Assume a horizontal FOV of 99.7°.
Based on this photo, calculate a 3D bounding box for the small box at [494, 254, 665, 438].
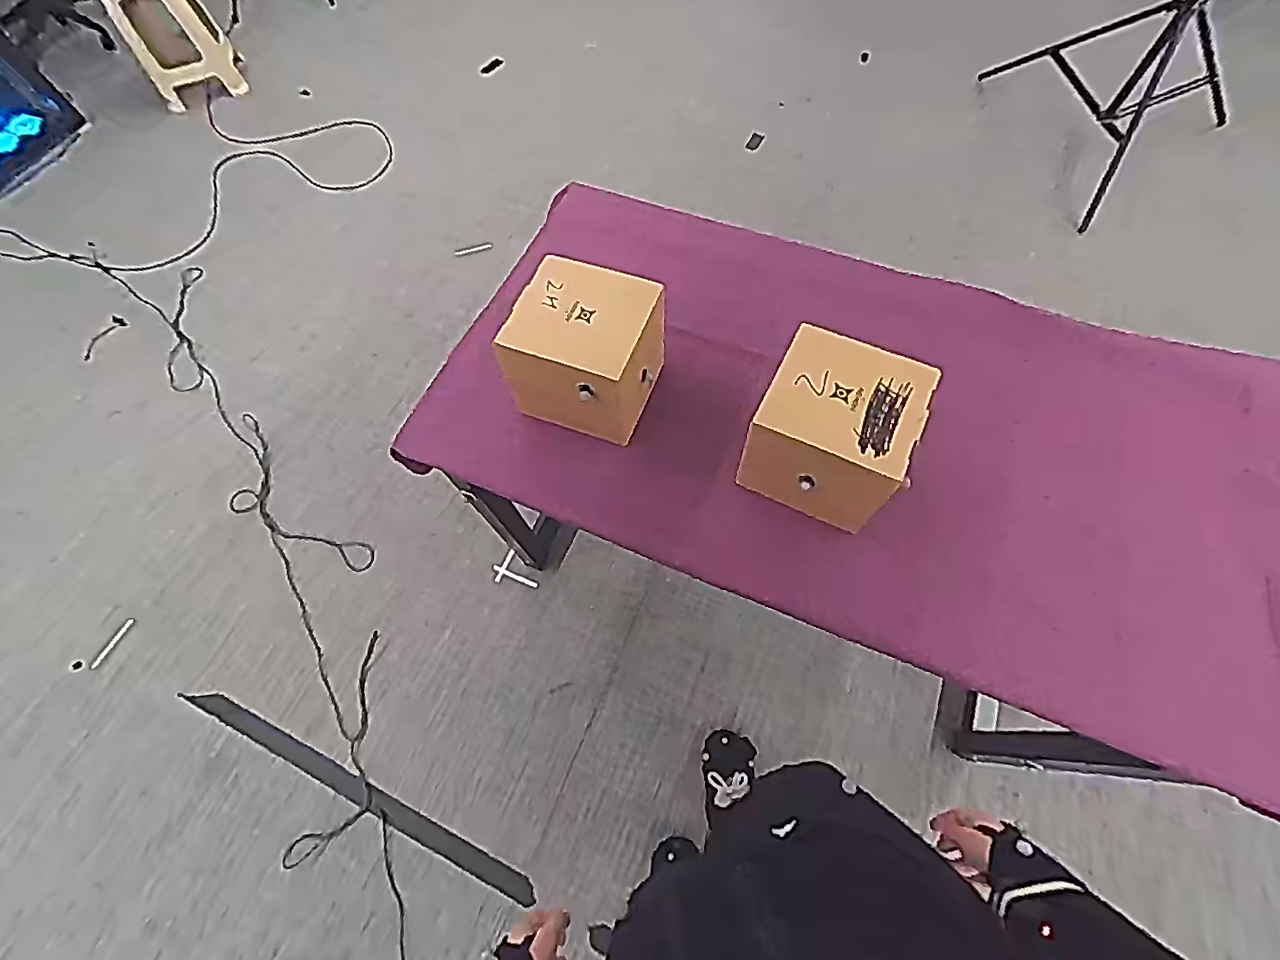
[{"bbox_3d":[-0.073,-0.181,0.767,0.179,0.176,0.168,19,66,11],"label":"small box"}]
